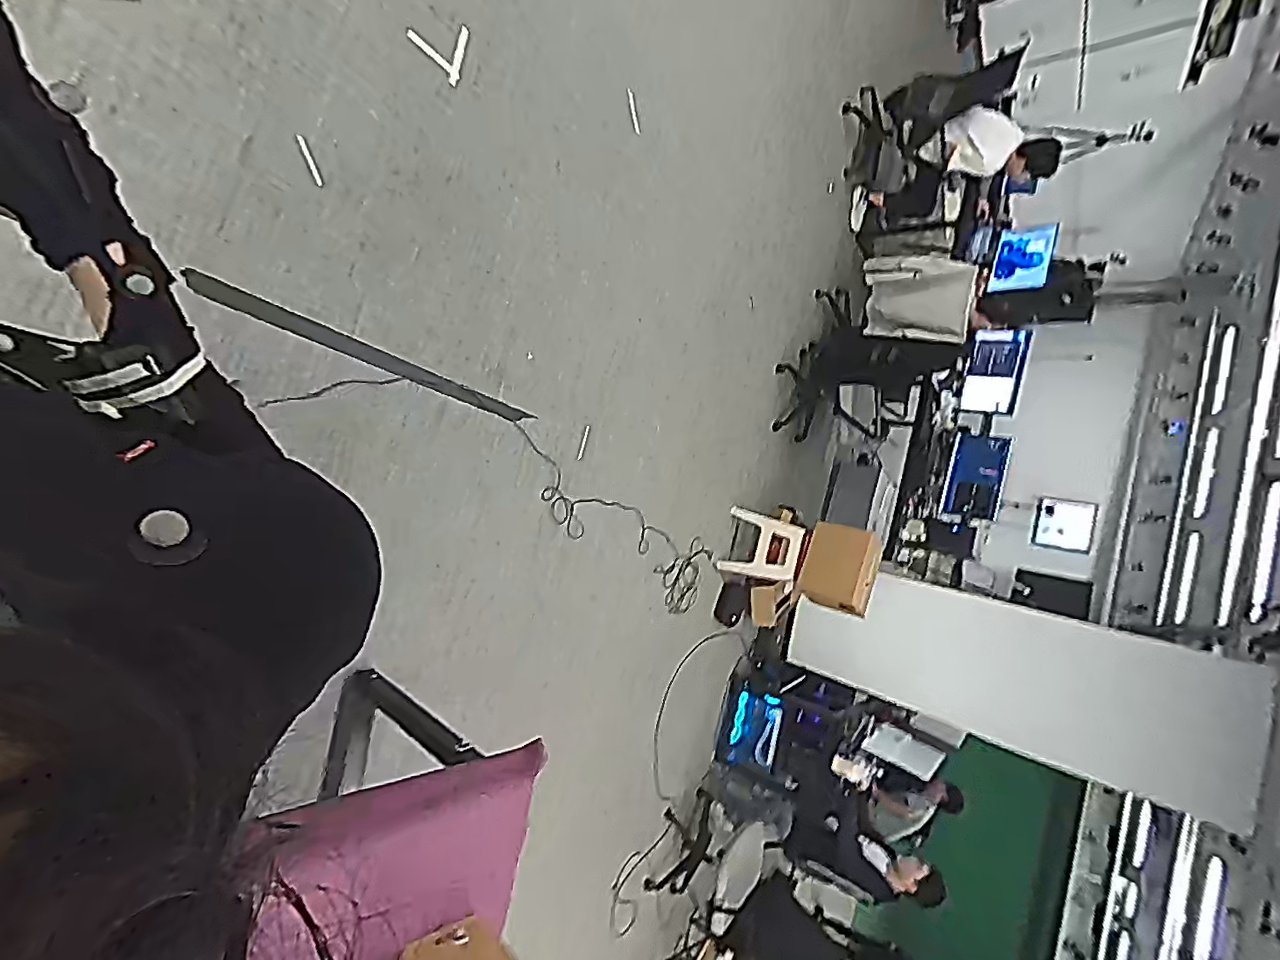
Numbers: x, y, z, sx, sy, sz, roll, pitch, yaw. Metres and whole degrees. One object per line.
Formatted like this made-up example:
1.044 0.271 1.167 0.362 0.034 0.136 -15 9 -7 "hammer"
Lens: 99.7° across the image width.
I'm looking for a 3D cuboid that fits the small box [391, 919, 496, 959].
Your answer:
-0.364 0.969 0.988 0.168 0.176 0.179 23 80 -53 "small box"
